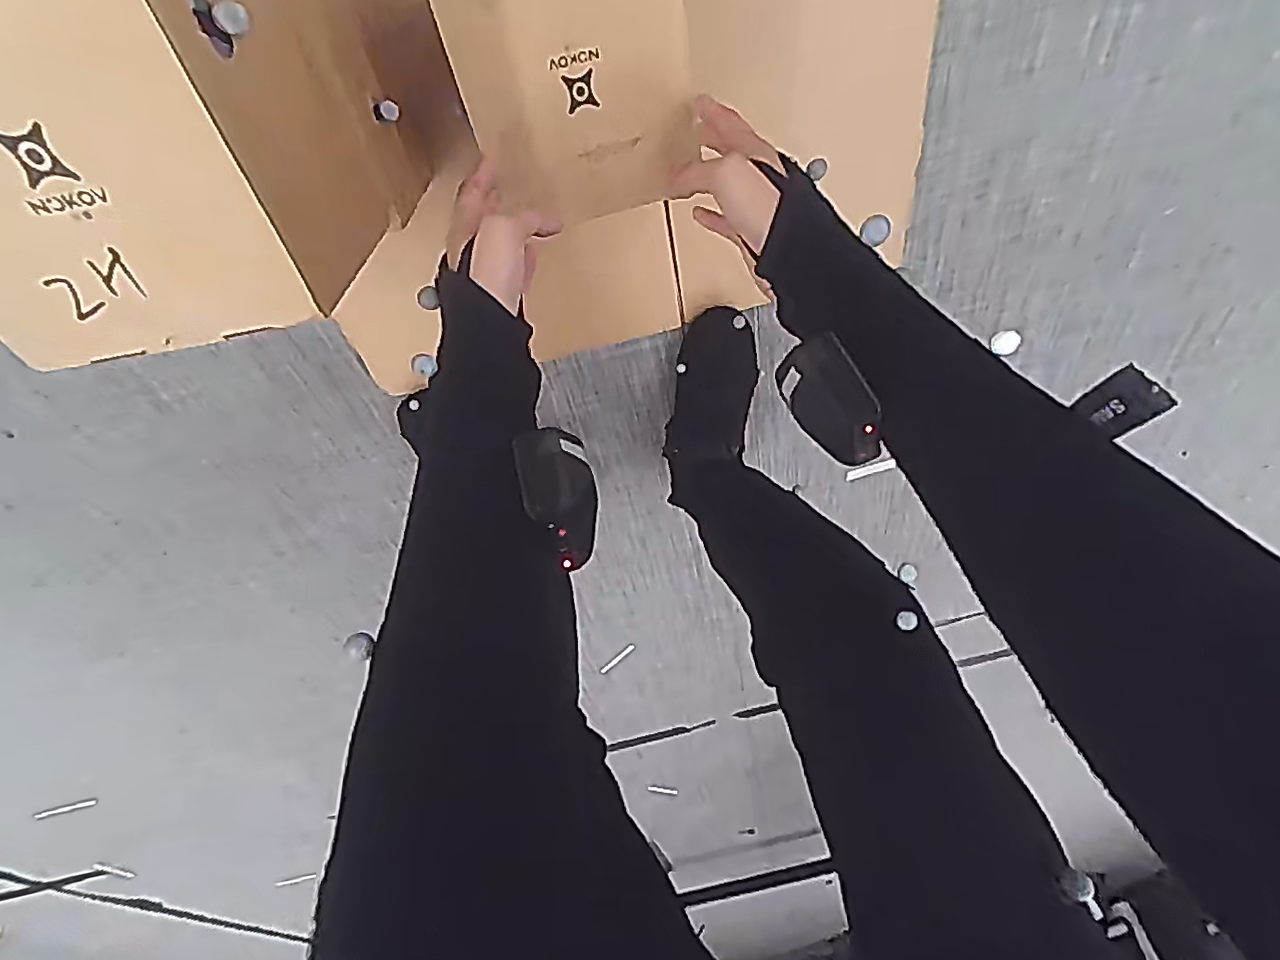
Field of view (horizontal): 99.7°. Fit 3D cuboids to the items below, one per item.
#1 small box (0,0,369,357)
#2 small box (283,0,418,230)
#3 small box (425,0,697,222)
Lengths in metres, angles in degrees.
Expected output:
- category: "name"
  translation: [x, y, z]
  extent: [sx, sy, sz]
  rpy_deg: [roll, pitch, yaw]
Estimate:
- category: "small box"
  translation: [-0.280, -0.196, 0.296]
  extent: [0.168, 0.176, 0.179]
  rpy_deg: [-11, 133, -1]
- category: "small box"
  translation: [-0.295, -0.302, 0.423]
  extent: [0.168, 0.176, 0.179]
  rpy_deg: [-12, 133, 0]
- category: "small box"
  translation: [-0.062, -0.333, 0.436]
  extent: [0.168, 0.176, 0.179]
  rpy_deg: [-14, 128, 0]
